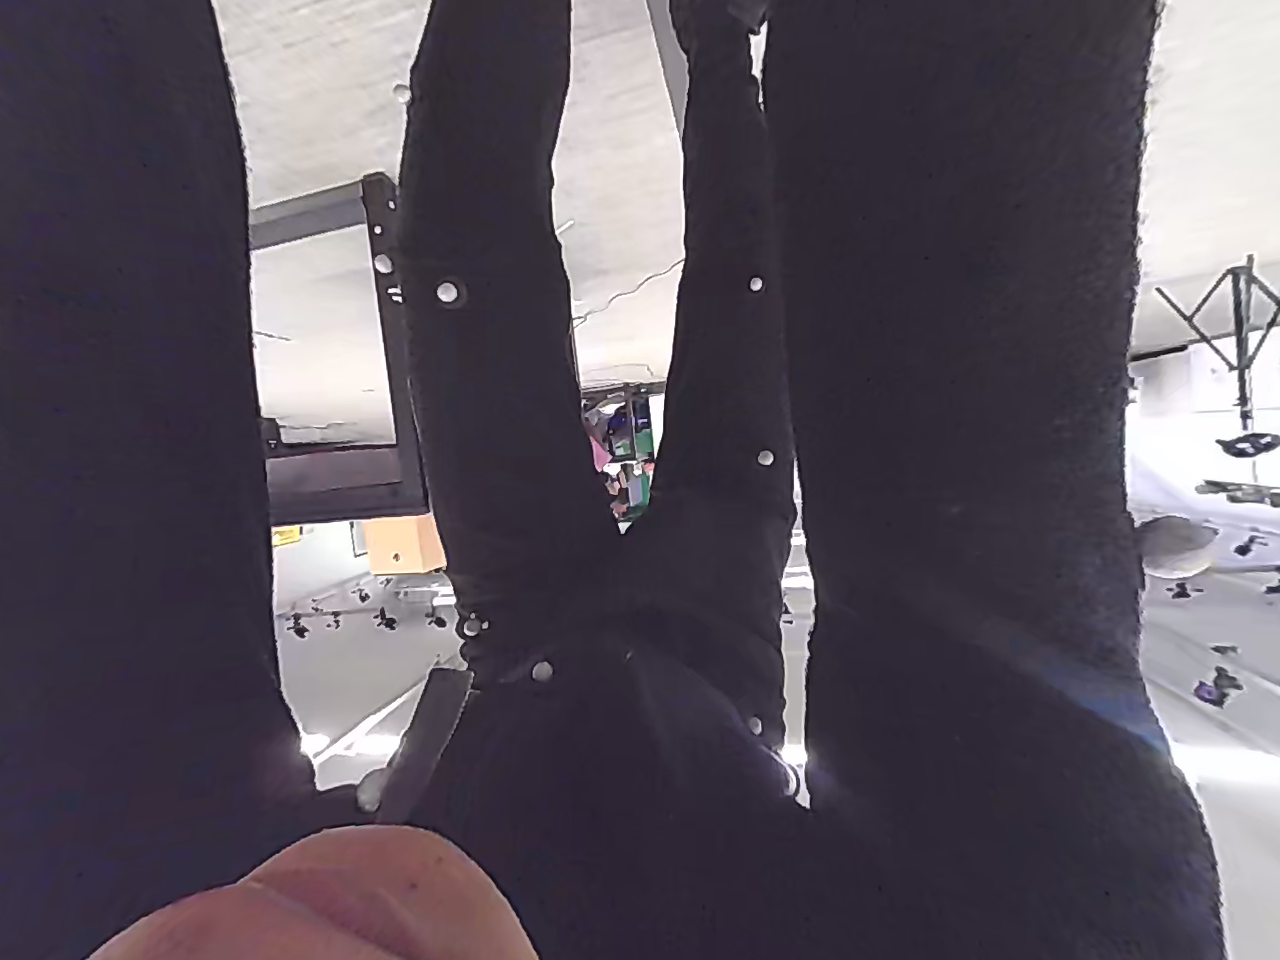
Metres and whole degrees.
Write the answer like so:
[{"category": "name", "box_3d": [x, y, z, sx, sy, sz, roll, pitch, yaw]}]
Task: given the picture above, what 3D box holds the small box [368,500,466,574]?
[{"category": "small box", "box_3d": [-0.602, 0.148, 1.458, 0.179, 0.176, 0.168, -5, -176, 20]}]
